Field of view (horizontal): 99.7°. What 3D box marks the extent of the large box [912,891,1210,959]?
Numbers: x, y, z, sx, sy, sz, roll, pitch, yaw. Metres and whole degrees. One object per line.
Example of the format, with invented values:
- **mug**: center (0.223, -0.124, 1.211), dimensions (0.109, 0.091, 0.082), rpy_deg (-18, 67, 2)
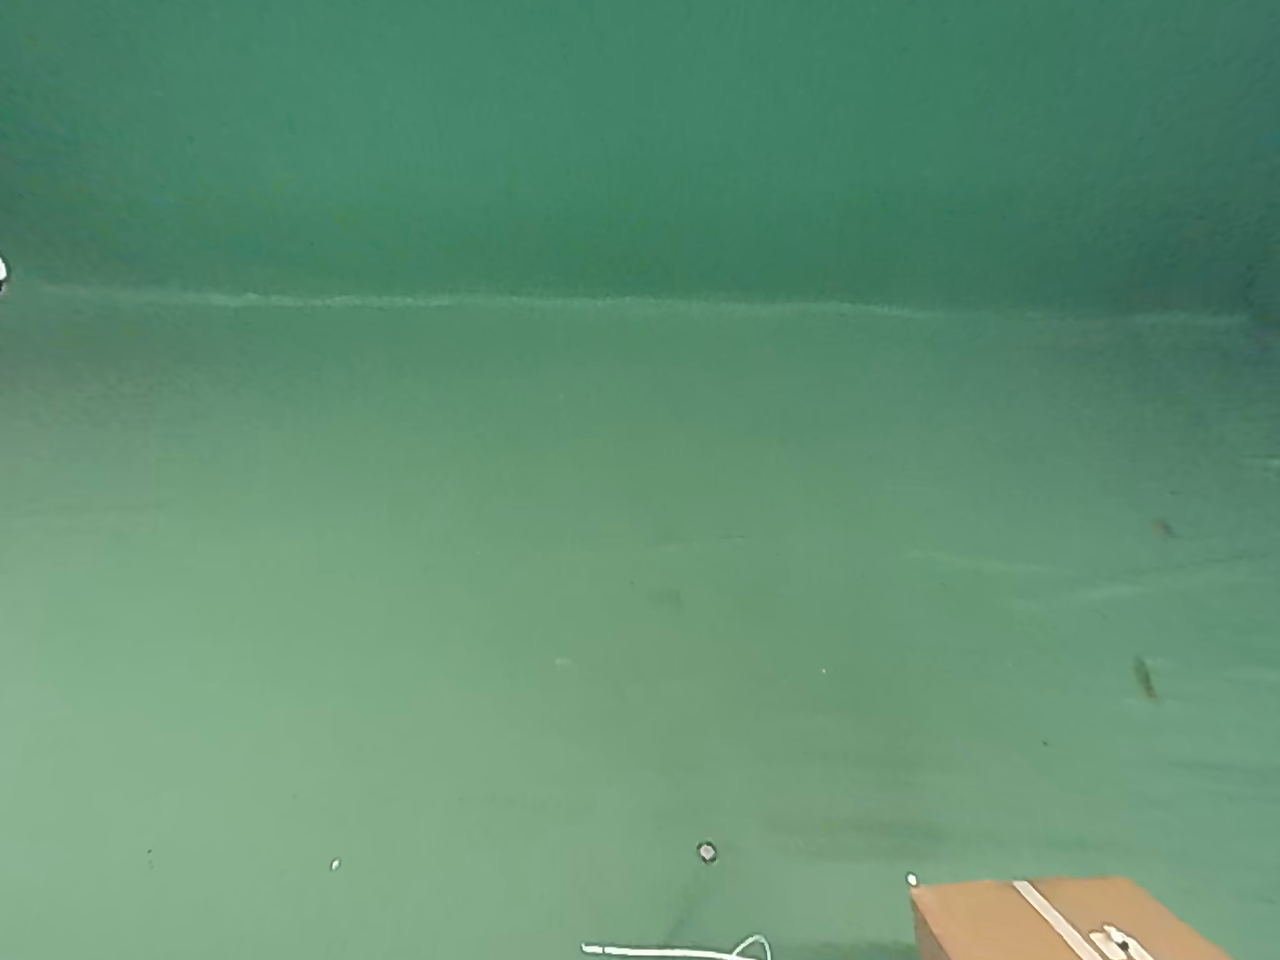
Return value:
- **large box**: center (0.553, 0.739, 0.582), dimensions (0.320, 0.408, 0.320), rpy_deg (-4, 83, 5)
